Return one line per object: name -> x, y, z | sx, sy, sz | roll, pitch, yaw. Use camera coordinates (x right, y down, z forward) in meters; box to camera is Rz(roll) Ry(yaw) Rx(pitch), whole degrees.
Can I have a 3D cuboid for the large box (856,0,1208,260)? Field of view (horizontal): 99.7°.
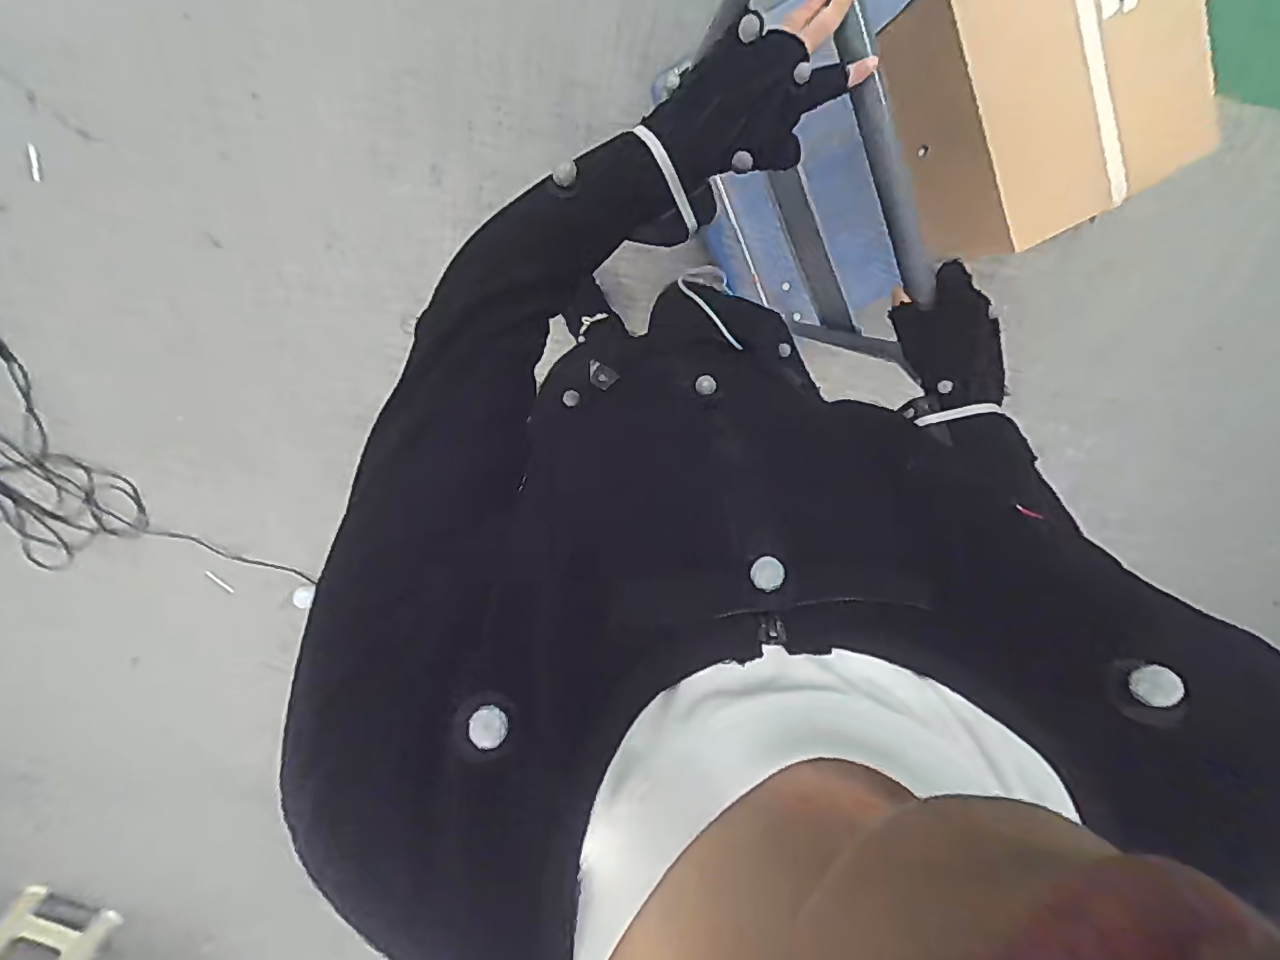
large box -> 0.627, -0.638, 0.915 | 0.320, 0.320, 0.408 | -27, 108, 9
